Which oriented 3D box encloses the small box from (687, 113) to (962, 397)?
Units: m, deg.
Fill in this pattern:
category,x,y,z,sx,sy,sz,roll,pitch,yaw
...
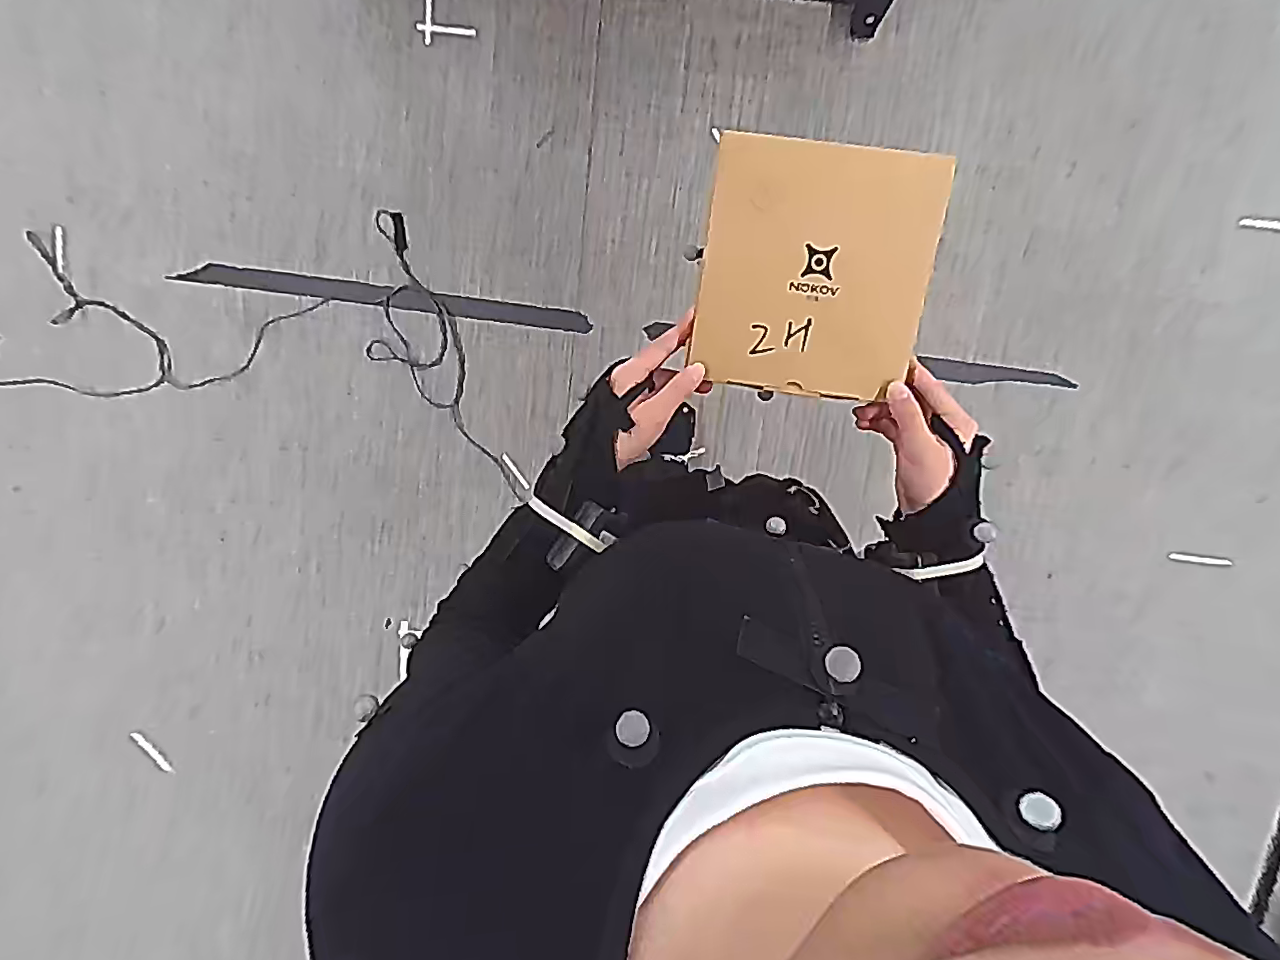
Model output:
category,x,y,z,sx,sy,sz,roll,pitch,yaw
small box,0.134,-0.176,0.467,0.168,0.176,0.179,9,104,2
